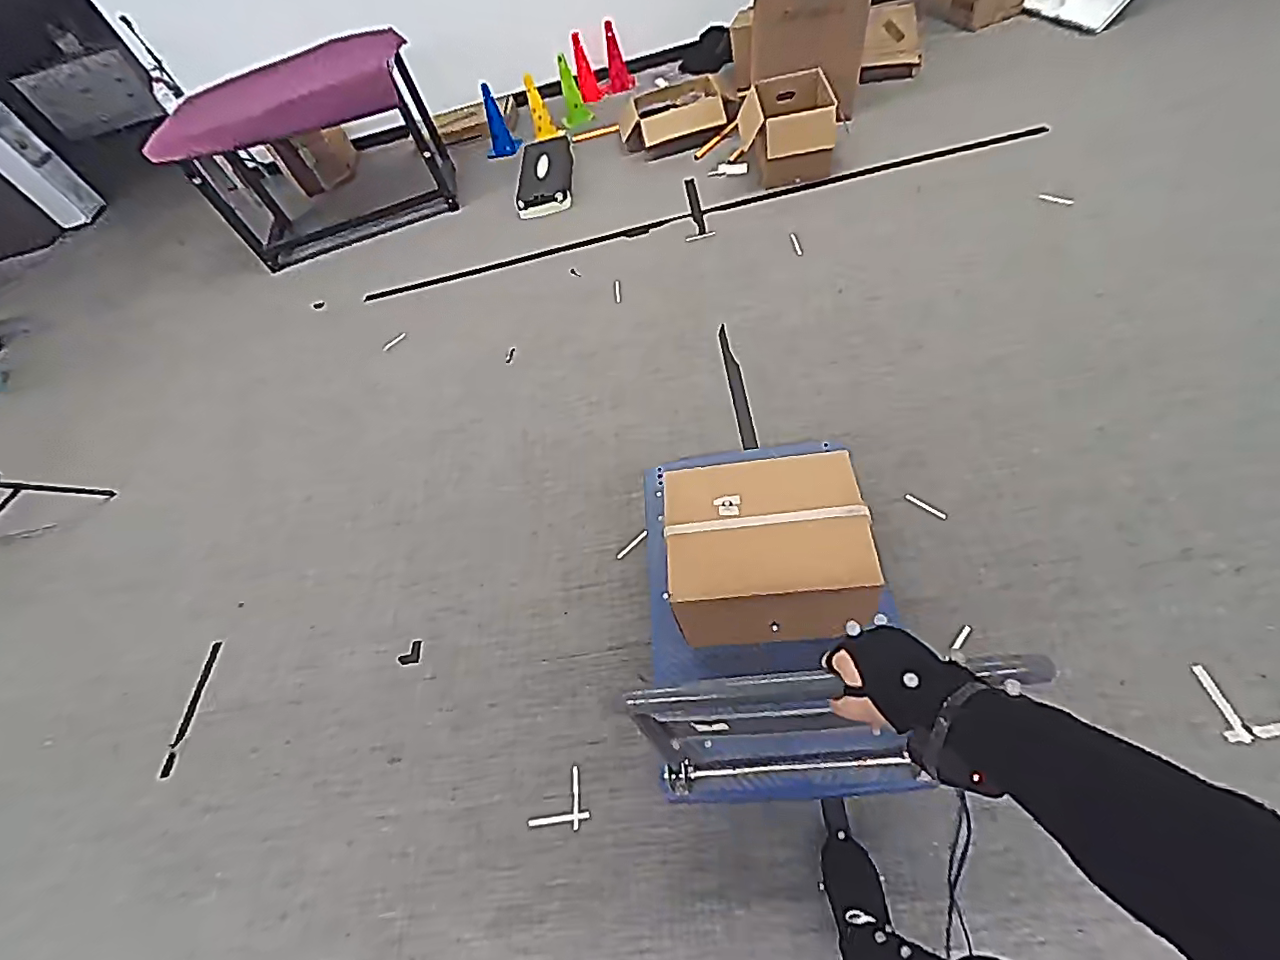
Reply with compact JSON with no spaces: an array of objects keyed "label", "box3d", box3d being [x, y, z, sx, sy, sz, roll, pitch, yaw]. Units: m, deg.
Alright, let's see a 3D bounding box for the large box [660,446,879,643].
[{"label":"large box","box3d":[0.276,0.161,1.225,0.408,0.320,0.320,-8,55,10]}]
